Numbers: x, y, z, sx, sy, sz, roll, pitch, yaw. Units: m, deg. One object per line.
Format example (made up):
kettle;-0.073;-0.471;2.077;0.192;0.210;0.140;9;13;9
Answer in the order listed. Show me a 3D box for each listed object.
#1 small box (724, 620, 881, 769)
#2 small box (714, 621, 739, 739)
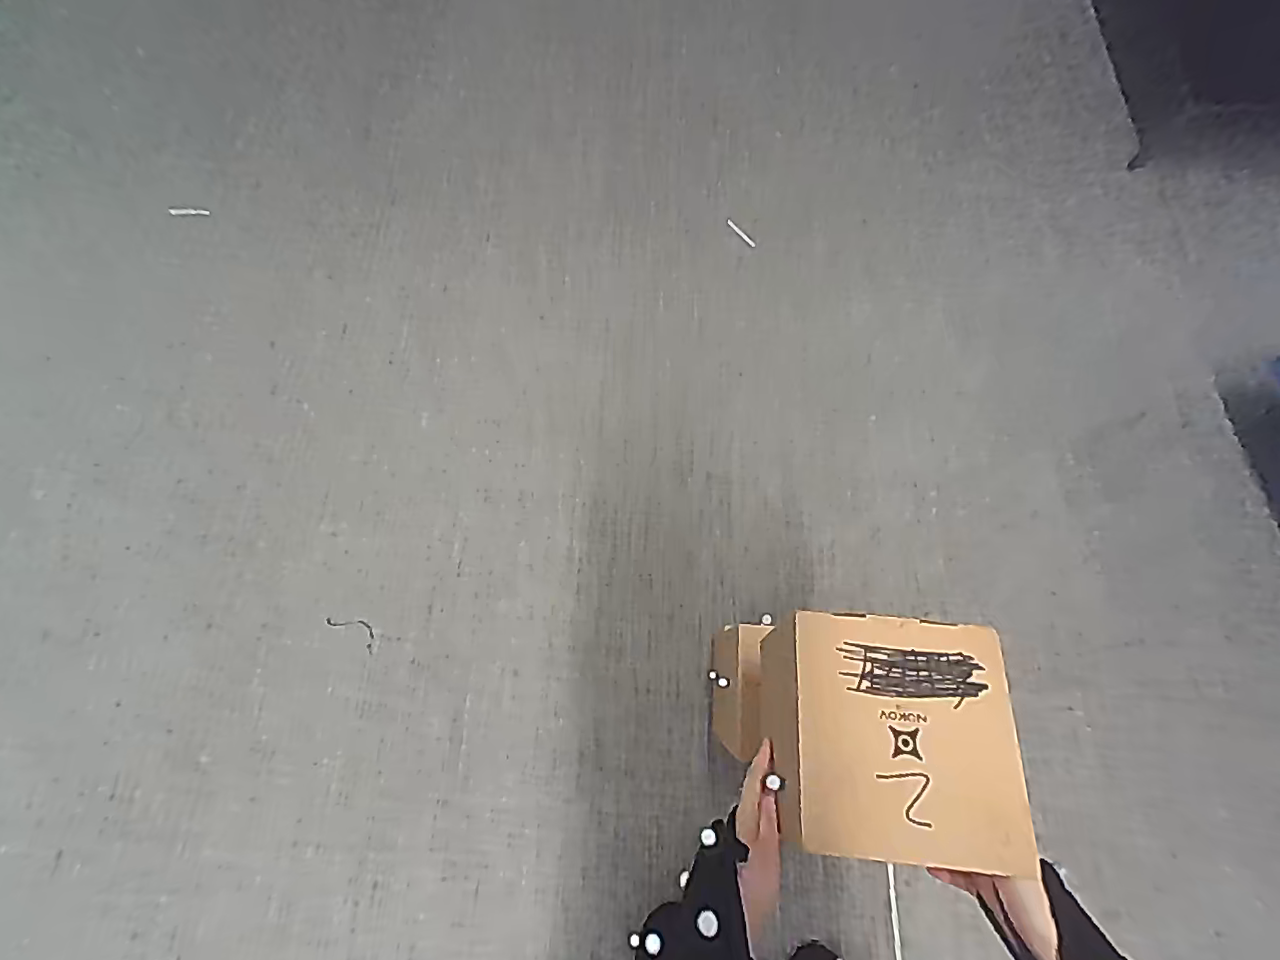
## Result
small box;0.214;0.292;0.756;0.179;0.176;0.168;3;72;2
small box;0.216;0.338;0.914;0.168;0.176;0.179;3;71;3
